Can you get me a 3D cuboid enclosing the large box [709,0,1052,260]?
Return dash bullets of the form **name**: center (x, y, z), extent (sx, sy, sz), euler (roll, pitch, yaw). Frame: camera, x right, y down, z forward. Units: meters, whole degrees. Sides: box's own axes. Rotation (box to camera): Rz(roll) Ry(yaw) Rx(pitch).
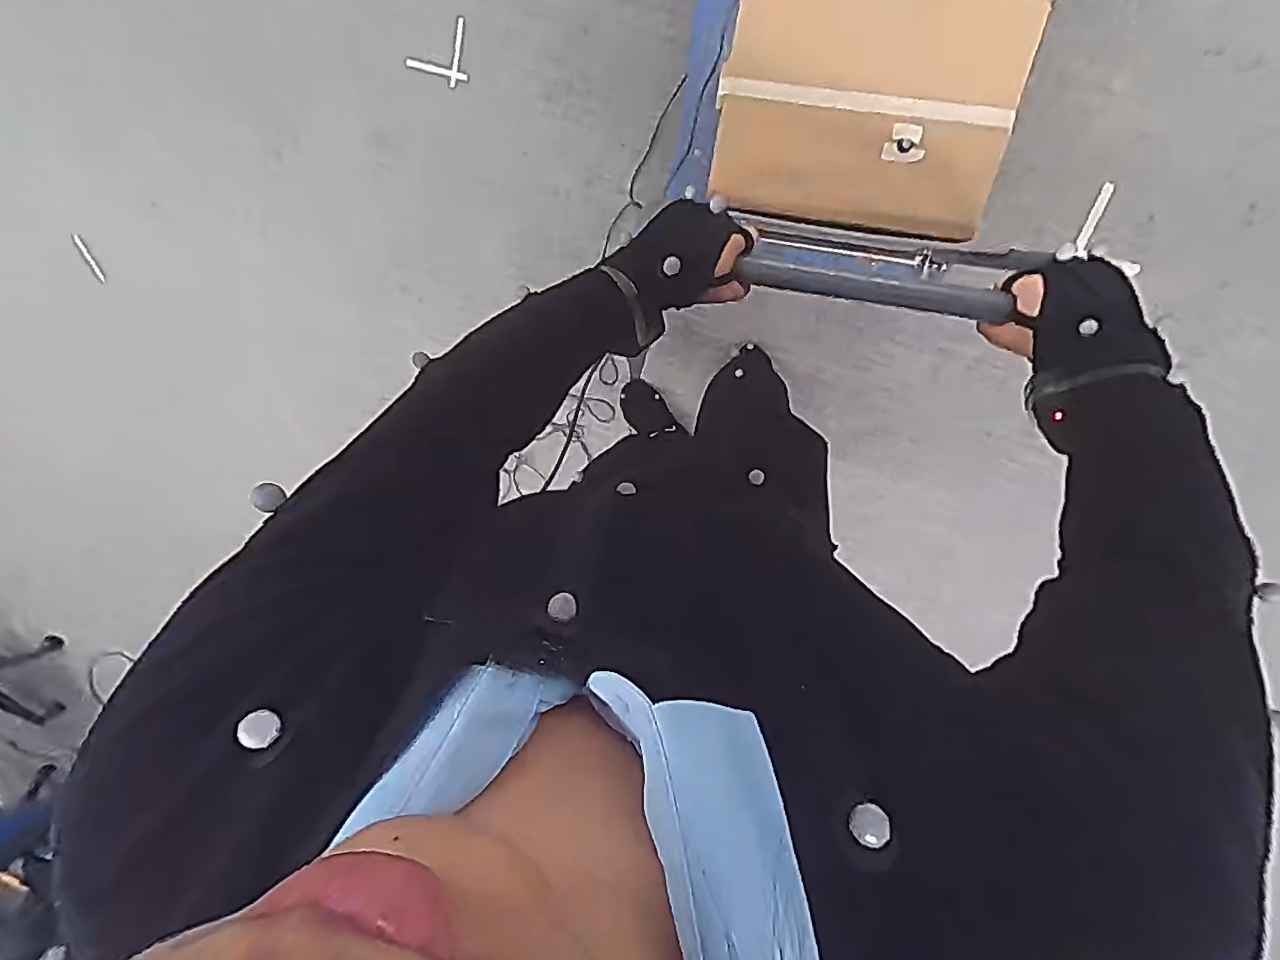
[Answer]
- **large box**: center (0.337, -0.563, 0.902), extent (0.408, 0.320, 0.320), euler (11, 112, 4)
